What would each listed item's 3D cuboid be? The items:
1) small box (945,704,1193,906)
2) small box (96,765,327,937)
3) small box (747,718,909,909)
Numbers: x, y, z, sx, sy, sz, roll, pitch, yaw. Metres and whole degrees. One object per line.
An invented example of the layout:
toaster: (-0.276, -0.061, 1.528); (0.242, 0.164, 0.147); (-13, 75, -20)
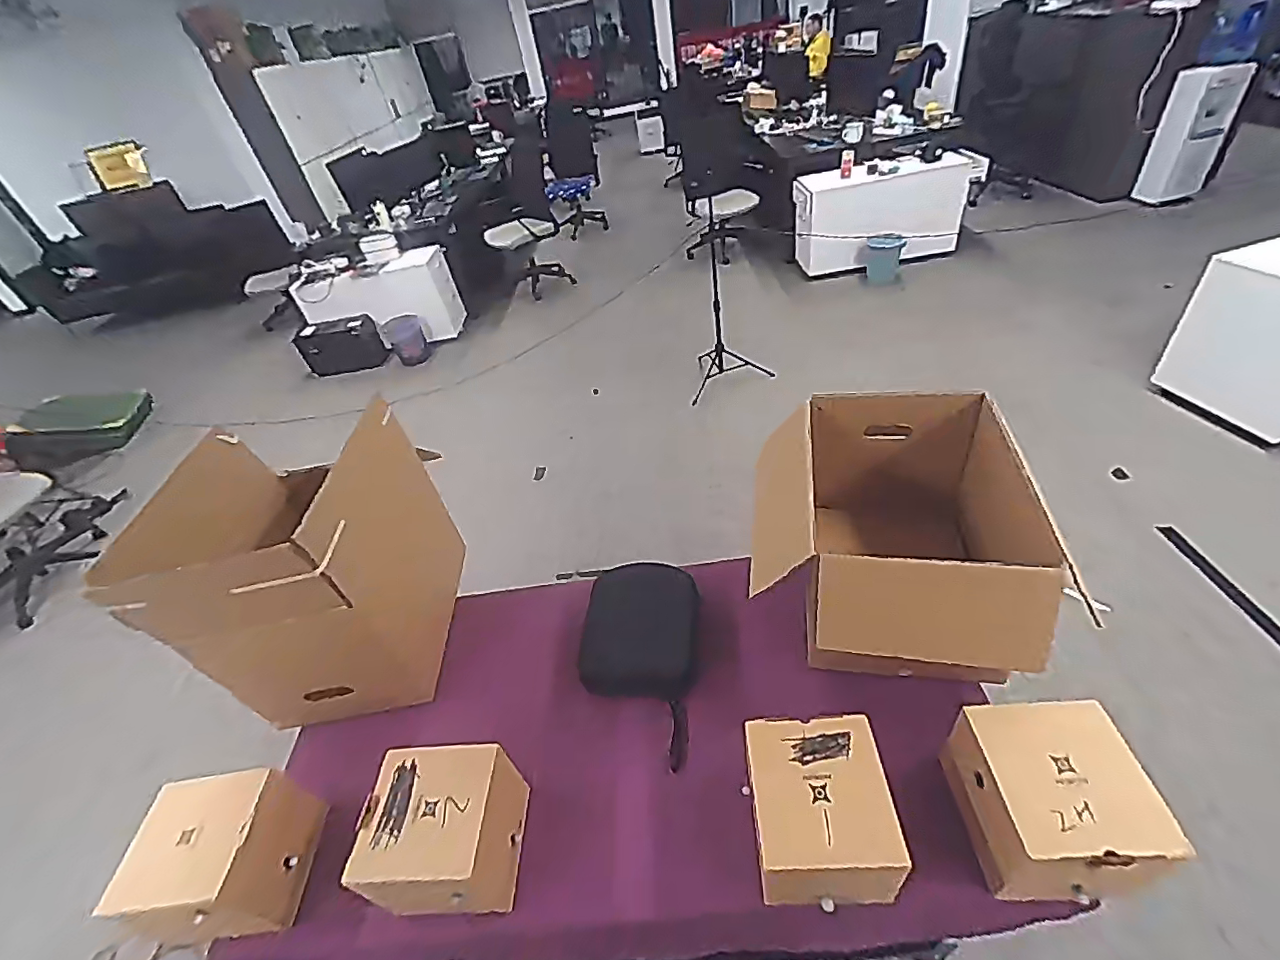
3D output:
small box: (0.515, 0.411, 0.689); (0.168, 0.176, 0.179); (-6, 40, 8)
small box: (-0.619, 0.557, 0.811); (0.179, 0.176, 0.168); (-9, 40, 2)
small box: (0.235, 0.445, 0.724); (0.168, 0.176, 0.179); (-6, 41, 7)
